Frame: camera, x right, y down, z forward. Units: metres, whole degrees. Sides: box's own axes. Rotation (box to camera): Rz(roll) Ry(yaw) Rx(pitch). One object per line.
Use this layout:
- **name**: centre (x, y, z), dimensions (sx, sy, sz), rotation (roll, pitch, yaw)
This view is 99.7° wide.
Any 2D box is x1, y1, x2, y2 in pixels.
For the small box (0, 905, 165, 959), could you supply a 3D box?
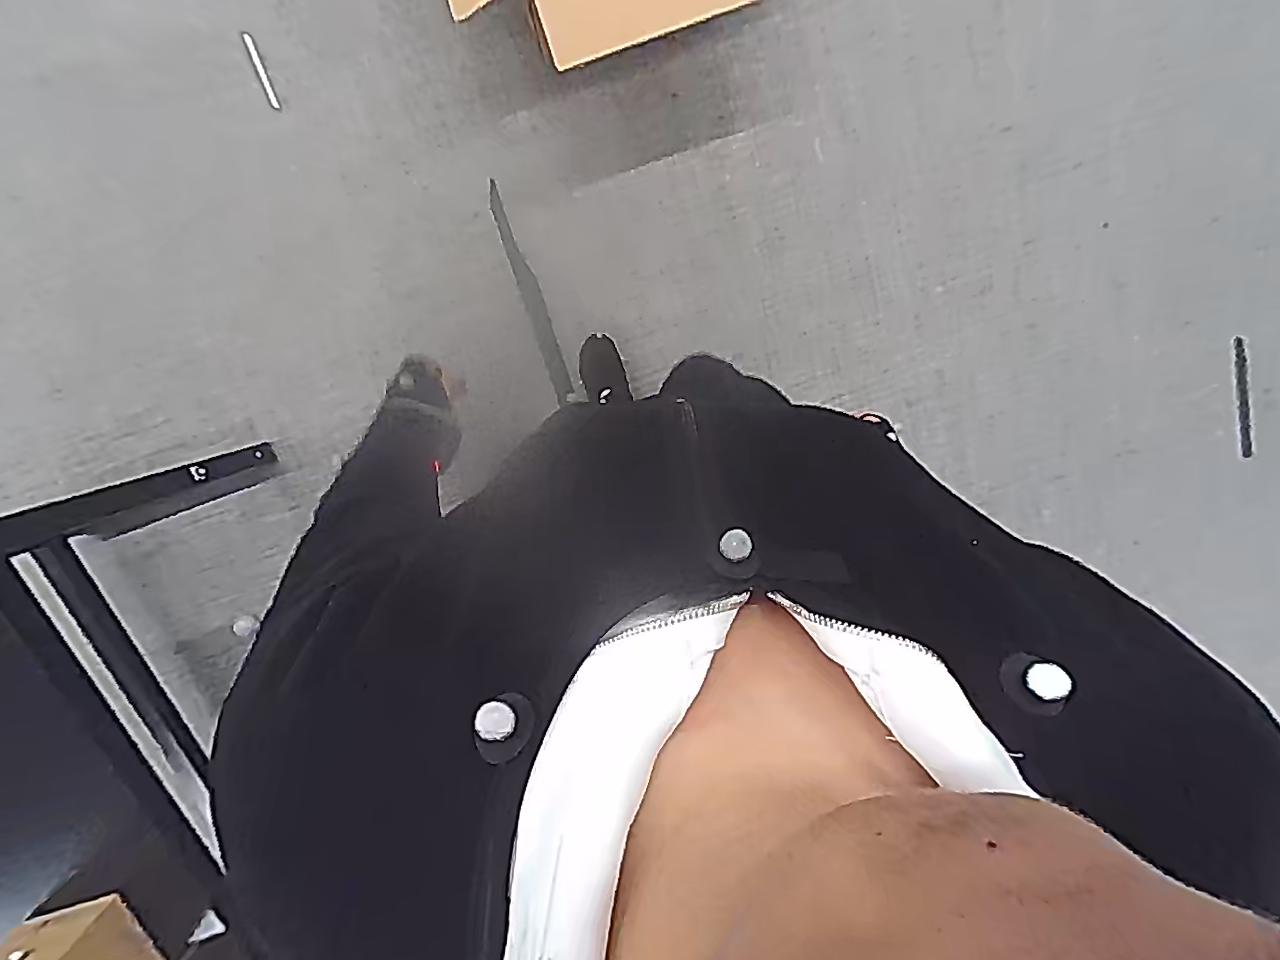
- **small box**: centre (-0.873, 0.779, 0.804), dimensions (0.168, 0.176, 0.179), rotation (-18, 104, 2)
